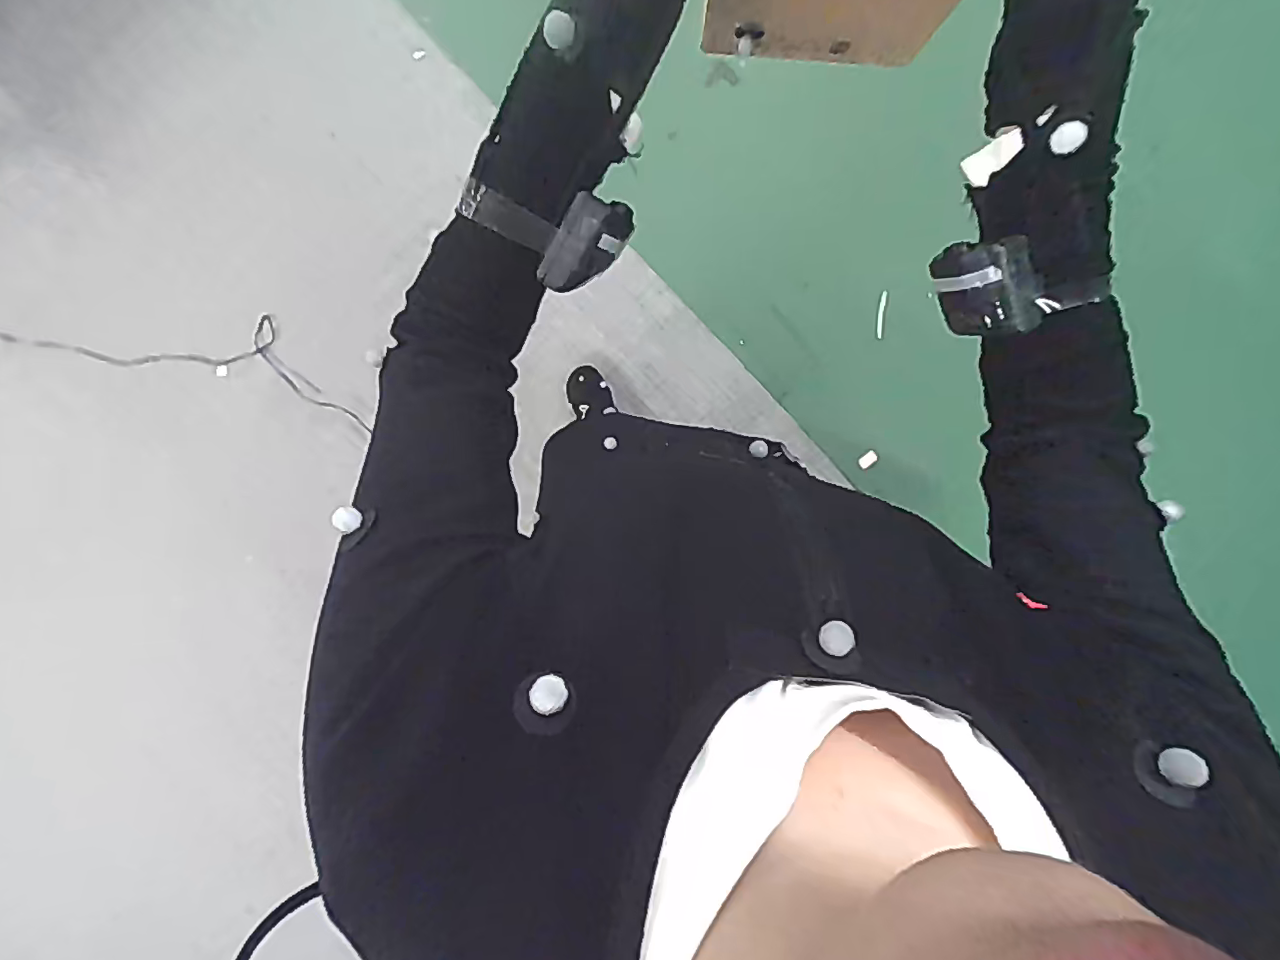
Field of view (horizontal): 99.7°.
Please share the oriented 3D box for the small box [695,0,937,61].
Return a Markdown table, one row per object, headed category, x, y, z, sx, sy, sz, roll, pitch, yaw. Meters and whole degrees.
| category | x | y | z | sx | sy | sz | roll | pitch | yaw |
| --- | --- | --- | --- | --- | --- | --- | --- | --- | --- |
| small box | 0.125 | -0.398 | 0.330 | 0.168 | 0.176 | 0.179 | 3 | 99 | 0 |
